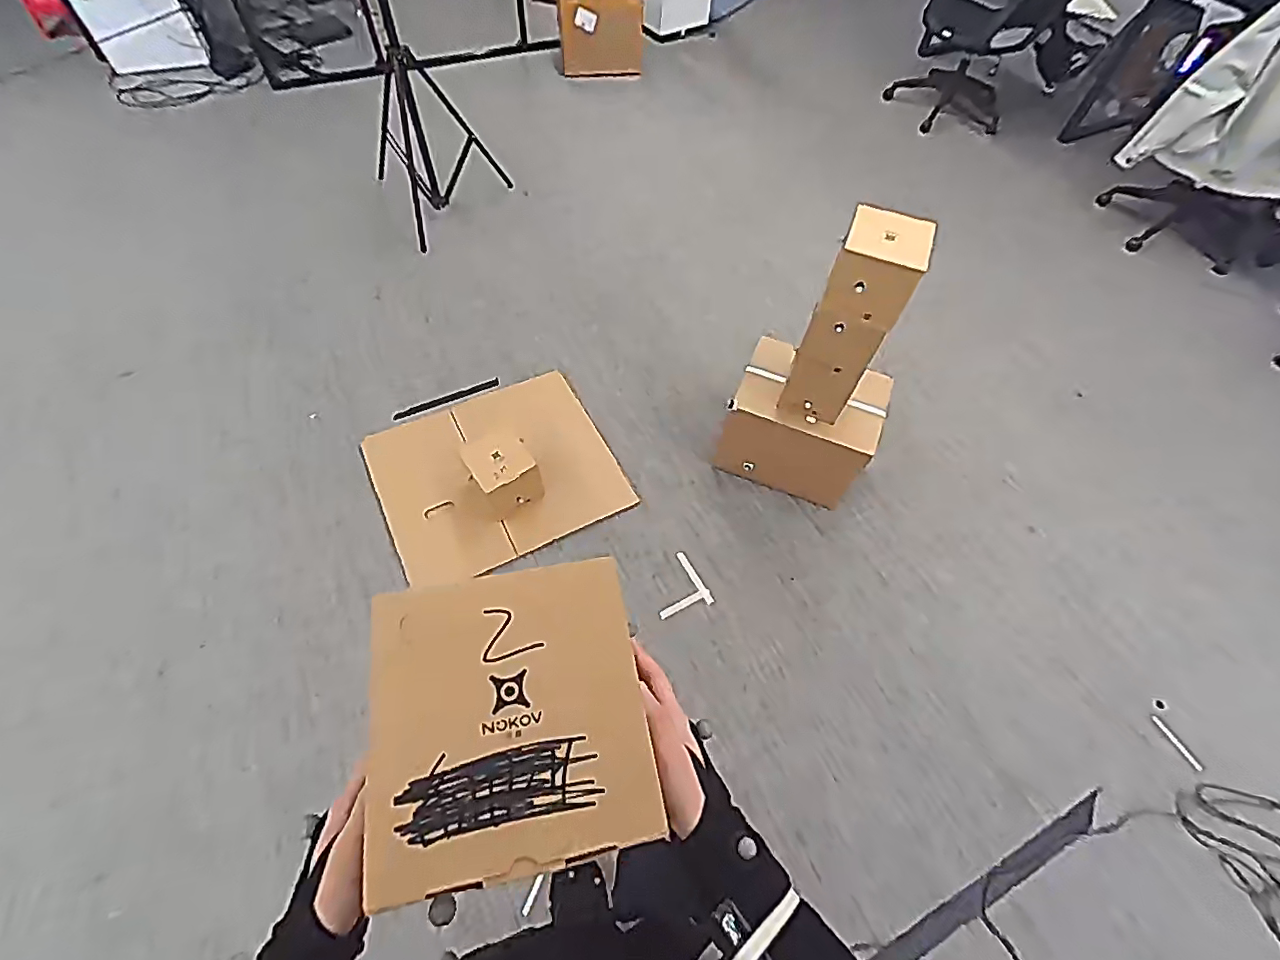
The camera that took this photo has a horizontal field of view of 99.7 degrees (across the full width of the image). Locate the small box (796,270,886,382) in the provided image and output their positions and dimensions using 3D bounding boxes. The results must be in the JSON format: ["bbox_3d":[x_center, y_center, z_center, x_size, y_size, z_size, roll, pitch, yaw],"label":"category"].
[{"bbox_3d":[0.497,-0.375,1.322,0.168,0.176,0.179,20,59,9],"label":"small box"}]

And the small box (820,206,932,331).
[{"bbox_3d":[0.508,-0.457,1.181,0.168,0.176,0.179,20,59,9],"label":"small box"}]

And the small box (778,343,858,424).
[{"bbox_3d":[0.488,-0.286,1.459,0.168,0.176,0.179,20,60,9],"label":"small box"}]

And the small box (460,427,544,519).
[{"bbox_3d":[-0.401,-0.016,1.591,0.168,0.176,0.179,-32,66,-18],"label":"small box"}]
